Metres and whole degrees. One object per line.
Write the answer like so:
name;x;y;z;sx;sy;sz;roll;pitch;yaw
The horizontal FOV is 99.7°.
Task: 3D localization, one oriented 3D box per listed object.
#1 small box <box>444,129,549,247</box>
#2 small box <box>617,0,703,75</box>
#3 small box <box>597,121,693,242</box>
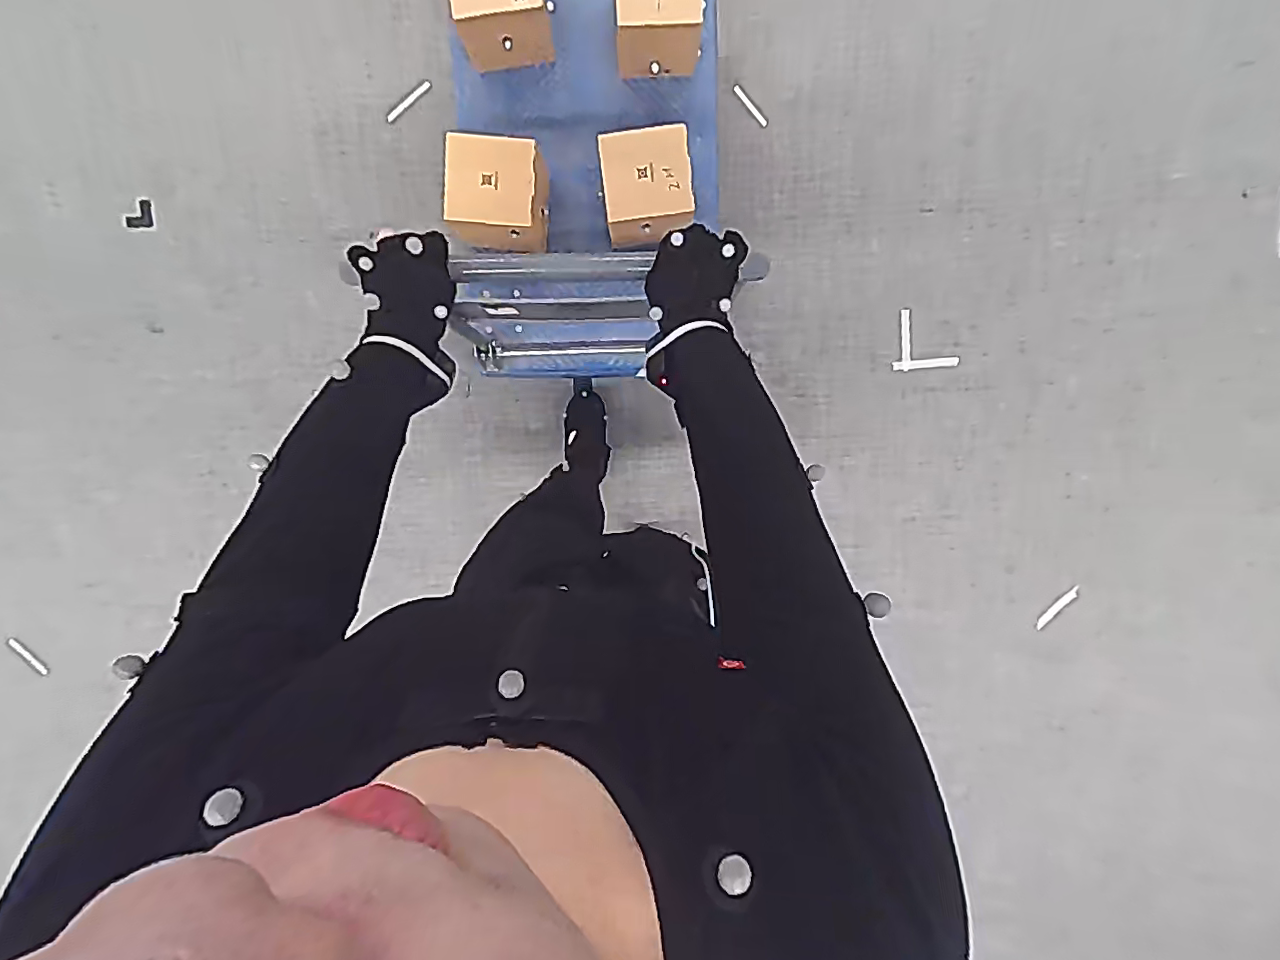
small box;-0.295;-0.605;1.139;0.179;0.176;0.168;4;97;-2
small box;0.036;-0.966;1.093;0.168;0.176;0.179;-2;98;0
small box;0.012;-0.616;1.137;0.179;0.176;0.168;-7;97;1
